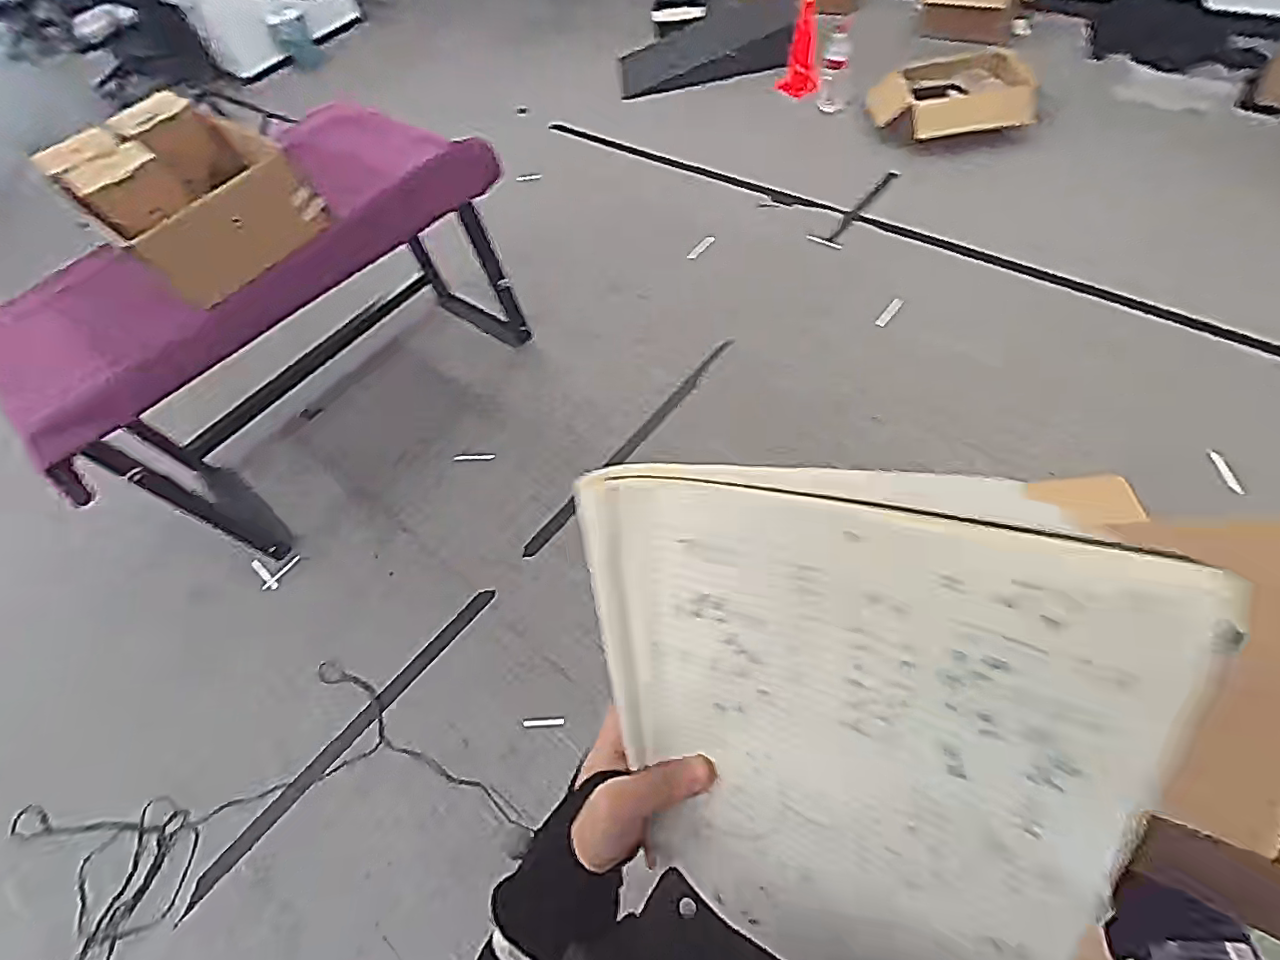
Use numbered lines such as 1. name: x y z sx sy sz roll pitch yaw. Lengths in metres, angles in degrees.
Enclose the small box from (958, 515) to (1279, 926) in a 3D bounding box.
1. small box: 0.335 0.132 0.321 0.168 0.176 0.179 37 74 -8
